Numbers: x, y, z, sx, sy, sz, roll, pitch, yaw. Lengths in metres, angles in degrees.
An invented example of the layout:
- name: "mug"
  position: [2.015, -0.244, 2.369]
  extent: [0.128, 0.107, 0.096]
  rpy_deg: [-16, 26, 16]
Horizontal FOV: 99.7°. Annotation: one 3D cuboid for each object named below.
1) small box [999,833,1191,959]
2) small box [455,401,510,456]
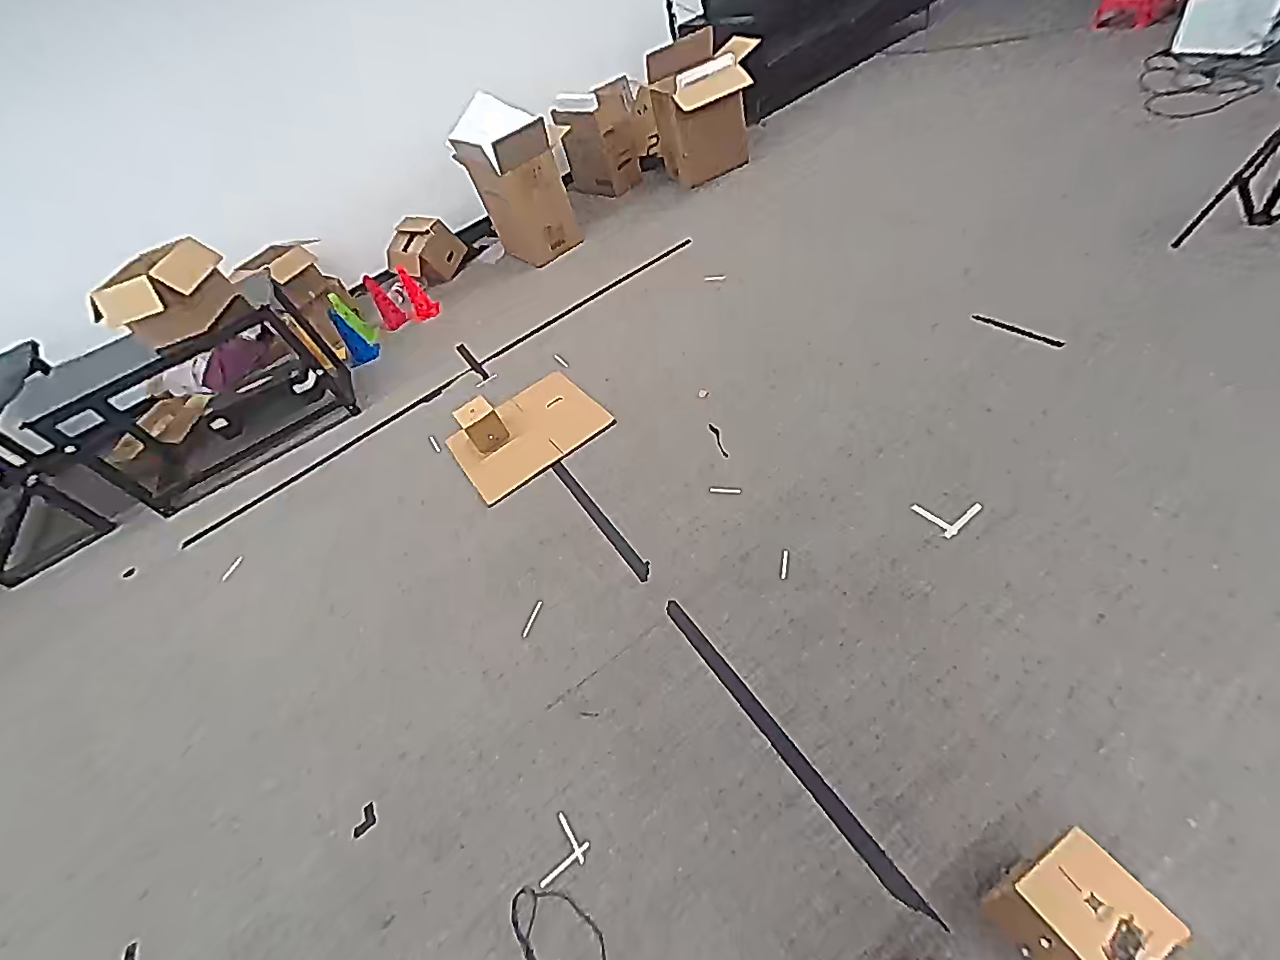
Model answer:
- name: "small box"
  position: [0.772, 0.762, 0.940]
  extent: [0.168, 0.176, 0.179]
  rpy_deg: [-33, 46, -11]
- name: "small box"
  position: [-0.759, -0.247, 2.617]
  extent: [0.168, 0.176, 0.179]
  rpy_deg: [-36, 48, -12]
